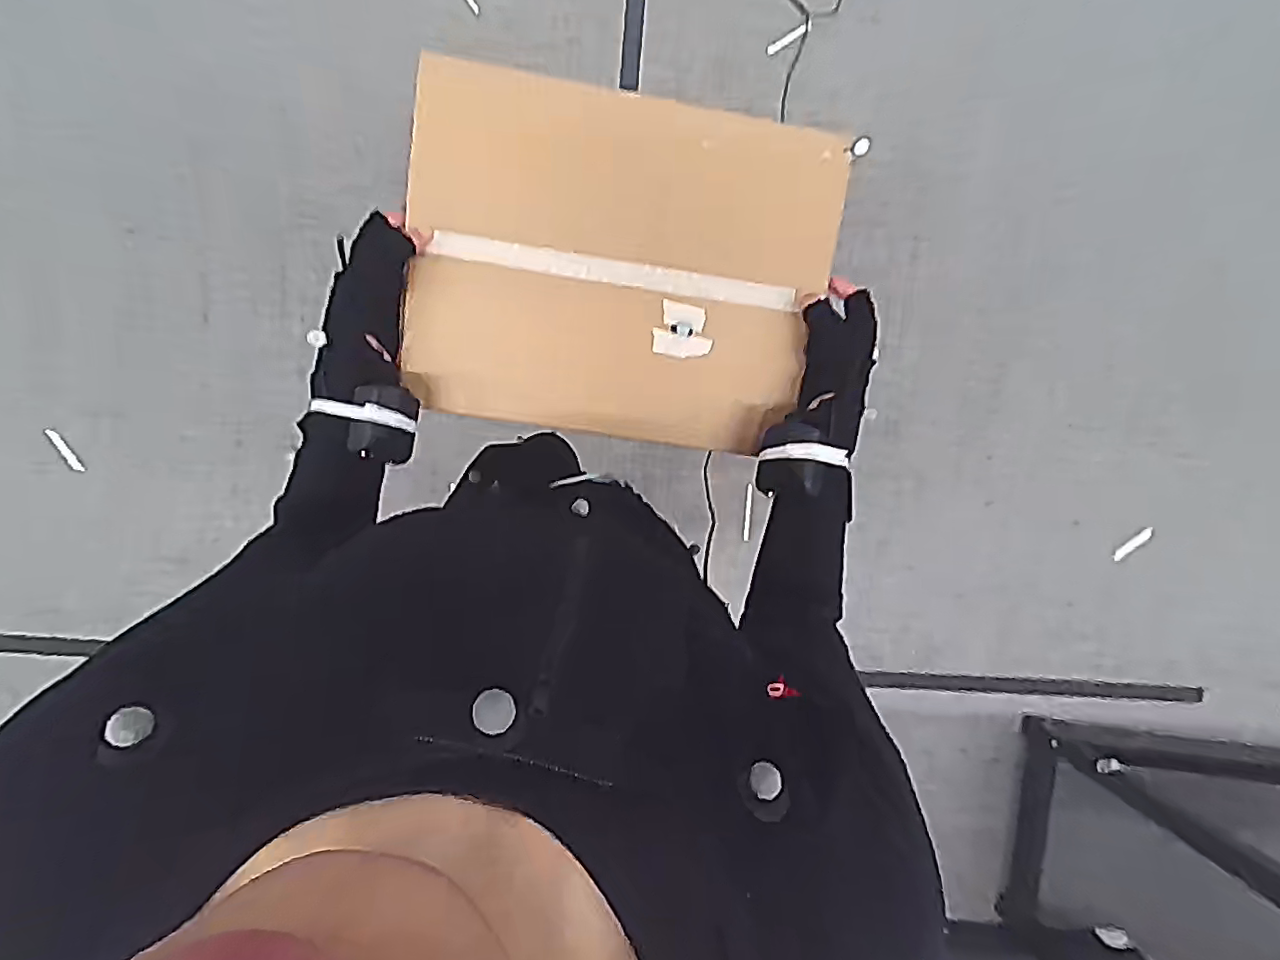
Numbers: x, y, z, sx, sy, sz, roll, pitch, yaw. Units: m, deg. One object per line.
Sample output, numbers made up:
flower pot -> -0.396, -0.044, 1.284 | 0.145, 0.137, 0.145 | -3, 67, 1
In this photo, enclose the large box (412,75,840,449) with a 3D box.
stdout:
large box -> -0.029, -0.228, 0.681 | 0.408, 0.320, 0.320 | 7, 100, -6
